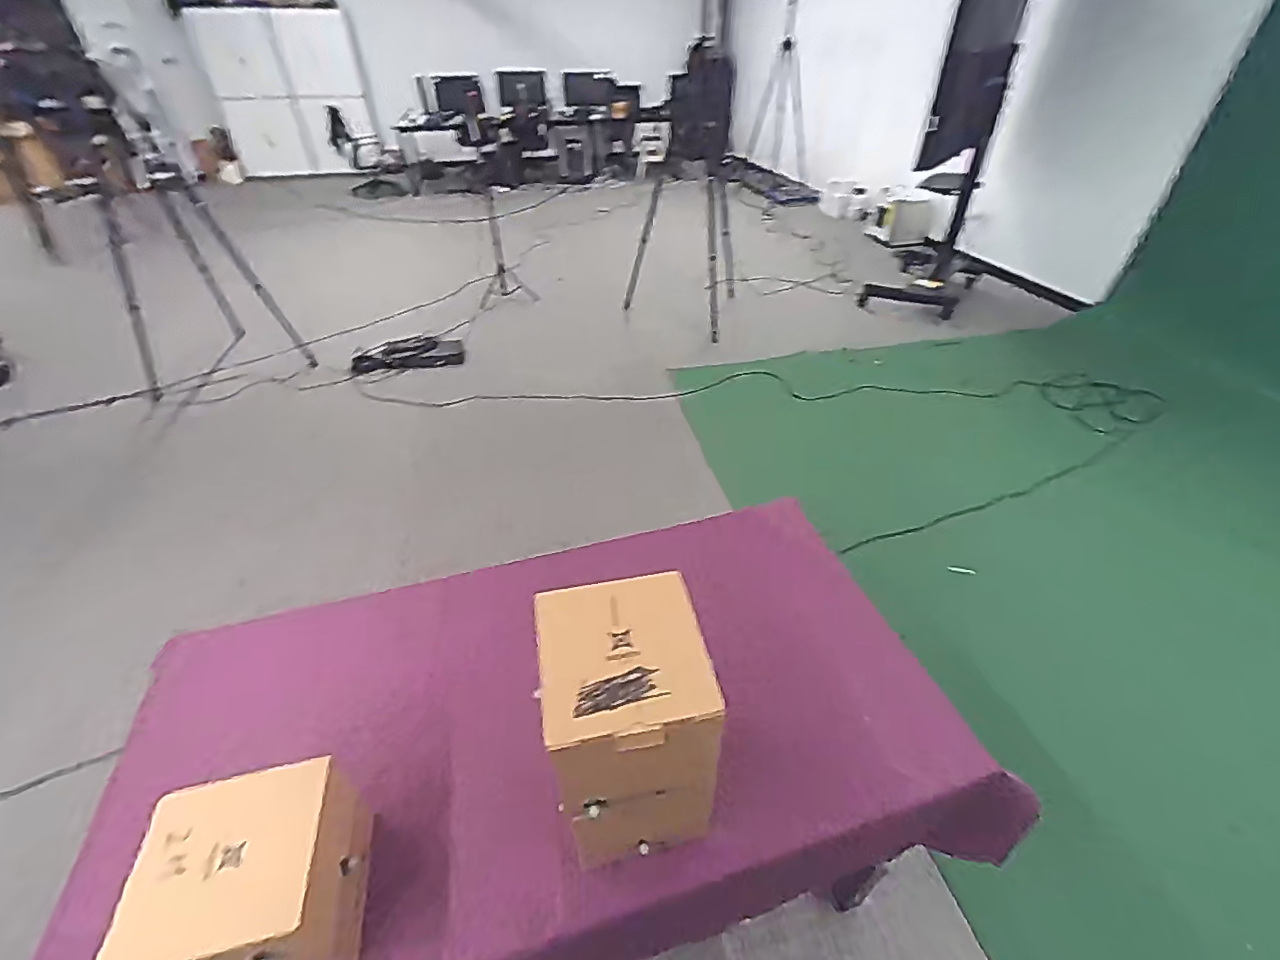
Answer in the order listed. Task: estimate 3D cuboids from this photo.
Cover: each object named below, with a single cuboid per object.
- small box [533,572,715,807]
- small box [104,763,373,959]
[{"bbox_3d":[-0.021,0.233,0.597,0.168,0.176,0.179,-8,39,-8],"label":"small box"},{"bbox_3d":[-0.419,0.453,0.603,0.179,0.176,0.168,-10,39,-10],"label":"small box"}]
